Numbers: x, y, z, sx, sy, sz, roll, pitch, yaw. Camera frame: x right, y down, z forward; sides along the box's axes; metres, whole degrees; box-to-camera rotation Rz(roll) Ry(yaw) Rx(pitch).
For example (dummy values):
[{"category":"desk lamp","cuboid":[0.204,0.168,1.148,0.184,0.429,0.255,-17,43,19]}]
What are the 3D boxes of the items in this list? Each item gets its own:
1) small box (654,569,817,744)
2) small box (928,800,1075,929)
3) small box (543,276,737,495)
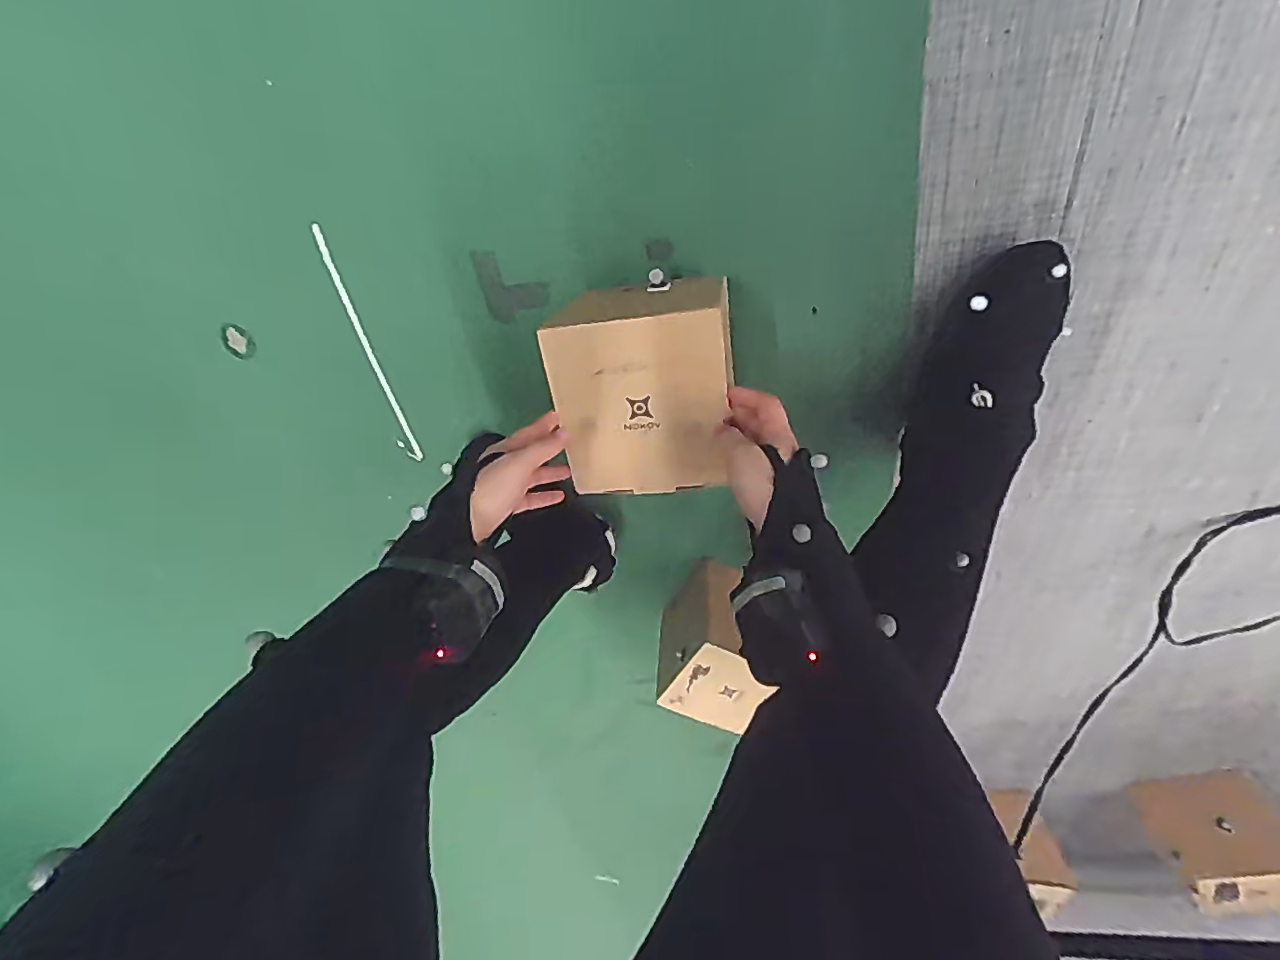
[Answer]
[{"category":"small box","cuboid":[0.138,0.265,0.826,0.179,0.176,0.168,23,124,-10]},{"category":"small box","cuboid":[0.723,0.781,1.105,0.179,0.176,0.168,-1,123,7]},{"category":"small box","cuboid":[0.016,-0.103,0.572,0.168,0.176,0.179,-4,119,11]}]
